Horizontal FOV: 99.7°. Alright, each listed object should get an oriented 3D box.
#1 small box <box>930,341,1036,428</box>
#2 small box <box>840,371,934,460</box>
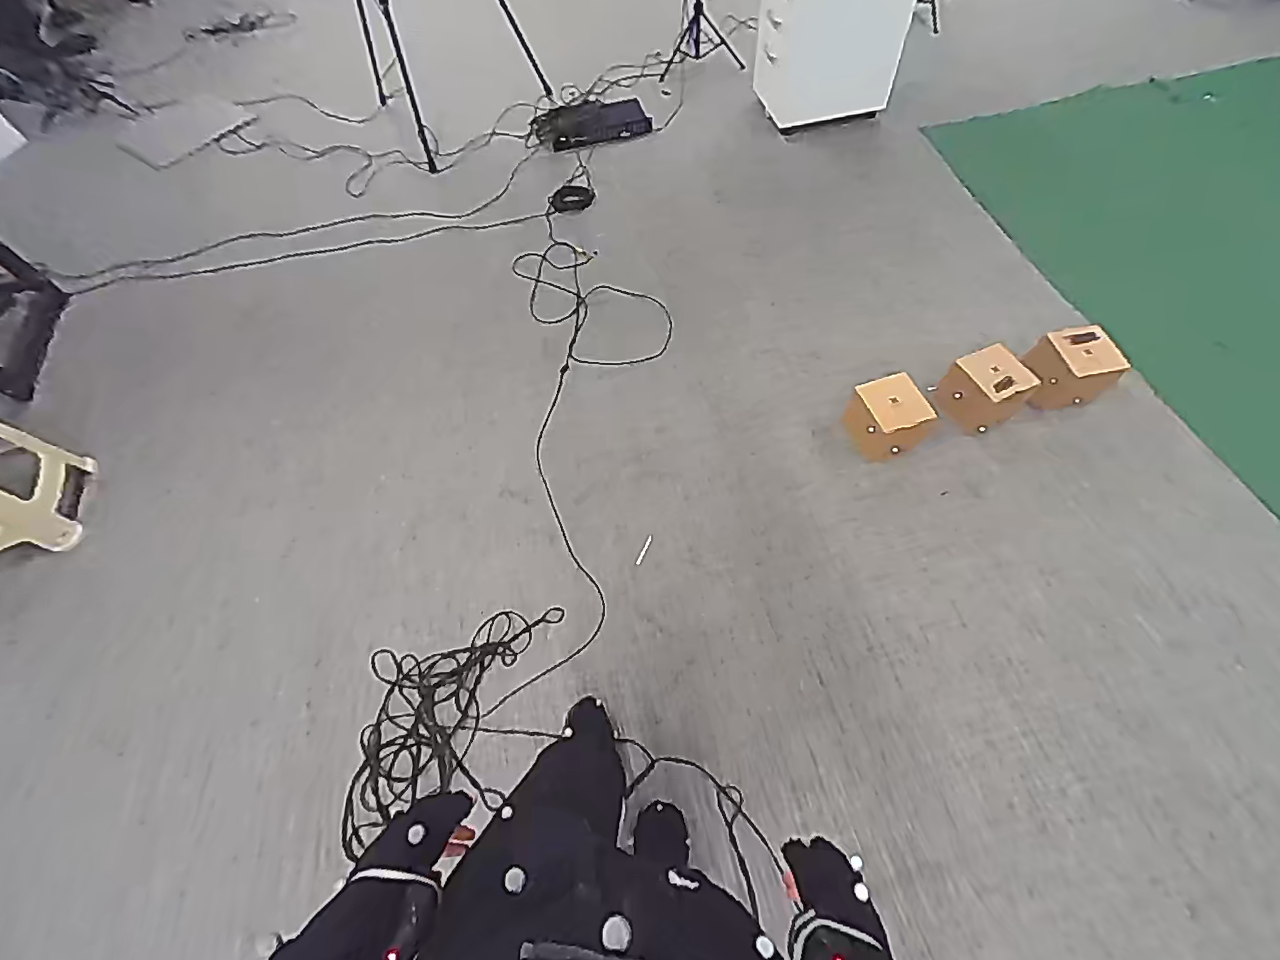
[{"bbox_3d":[1.024,-0.278,1.629,0.168,0.176,0.179,-21,60,-8],"label":"small box"},{"bbox_3d":[0.721,-0.188,1.602,0.168,0.176,0.179,-18,61,-5],"label":"small box"}]
